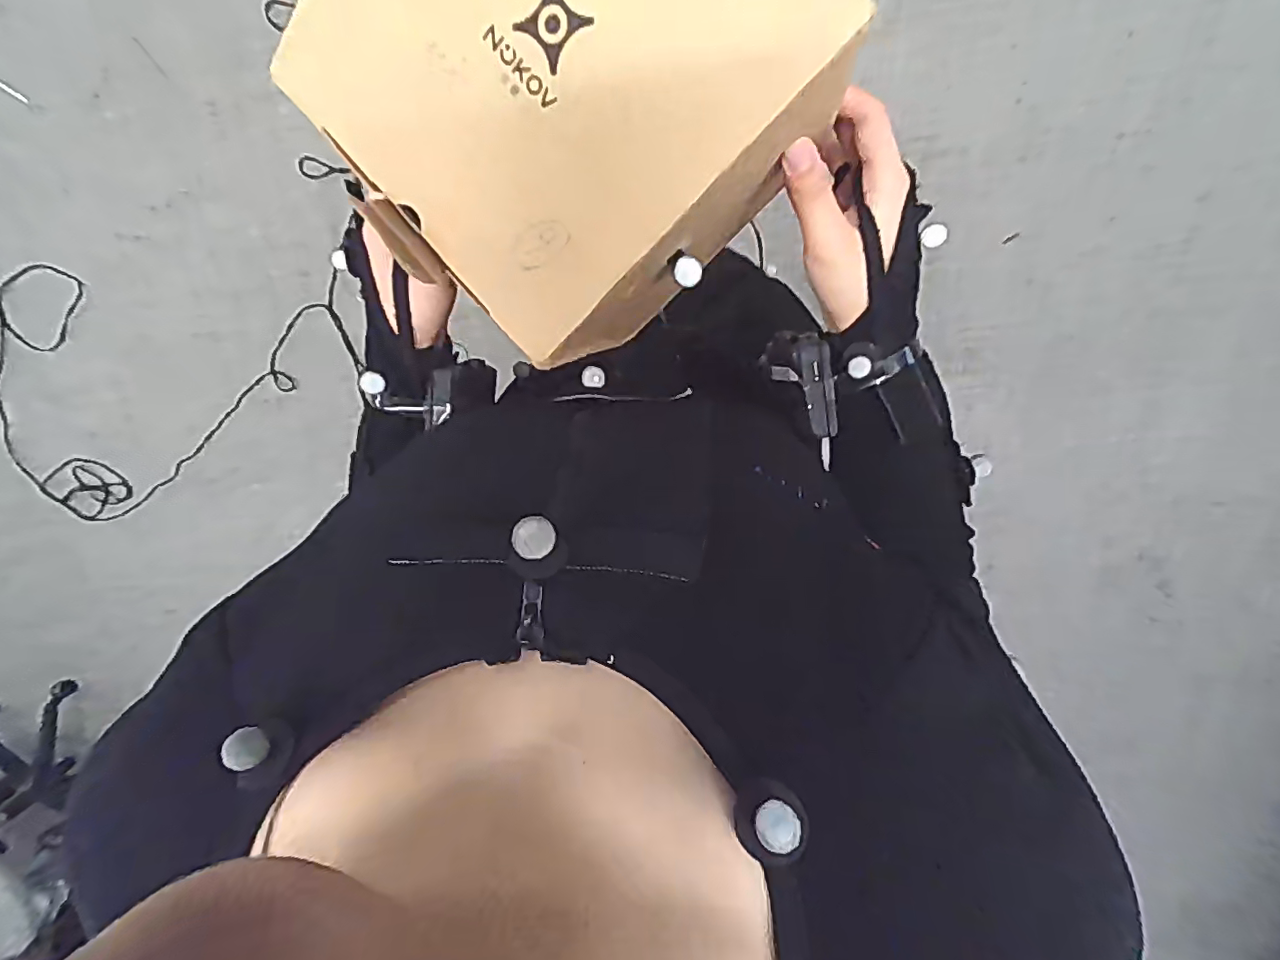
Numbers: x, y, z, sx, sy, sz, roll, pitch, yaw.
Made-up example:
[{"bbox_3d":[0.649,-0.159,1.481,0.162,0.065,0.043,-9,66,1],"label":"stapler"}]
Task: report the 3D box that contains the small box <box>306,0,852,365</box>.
[{"bbox_3d":[-0.018,-0.187,0.290,0.179,0.176,0.168,-41,96,21],"label":"small box"}]
